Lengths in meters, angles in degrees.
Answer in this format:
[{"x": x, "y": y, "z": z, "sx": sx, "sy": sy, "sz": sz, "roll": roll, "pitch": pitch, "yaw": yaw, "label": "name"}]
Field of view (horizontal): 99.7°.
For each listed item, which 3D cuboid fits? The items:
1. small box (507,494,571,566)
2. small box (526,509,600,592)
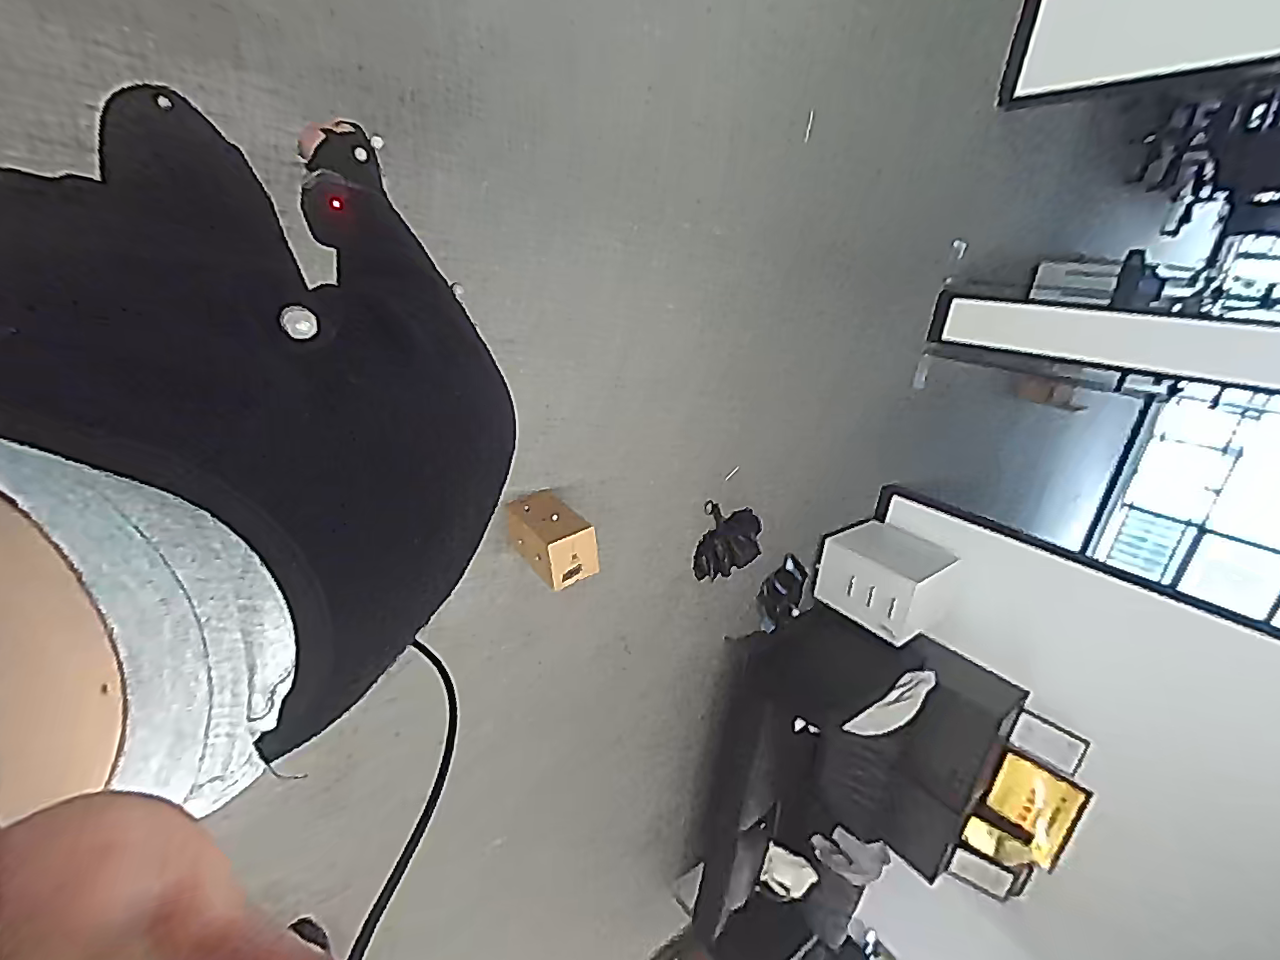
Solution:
[{"x": -0.340, "y": 0.163, "z": 1.844, "sx": 0.168, "sy": 0.176, "sz": 0.179, "roll": -22, "pitch": 124, "yaw": -30, "label": "small box"}, {"x": -0.246, "y": 0.218, "z": 1.720, "sx": 0.168, "sy": 0.176, "sz": 0.179, "roll": -21, "pitch": 121, "yaw": -31, "label": "small box"}]
